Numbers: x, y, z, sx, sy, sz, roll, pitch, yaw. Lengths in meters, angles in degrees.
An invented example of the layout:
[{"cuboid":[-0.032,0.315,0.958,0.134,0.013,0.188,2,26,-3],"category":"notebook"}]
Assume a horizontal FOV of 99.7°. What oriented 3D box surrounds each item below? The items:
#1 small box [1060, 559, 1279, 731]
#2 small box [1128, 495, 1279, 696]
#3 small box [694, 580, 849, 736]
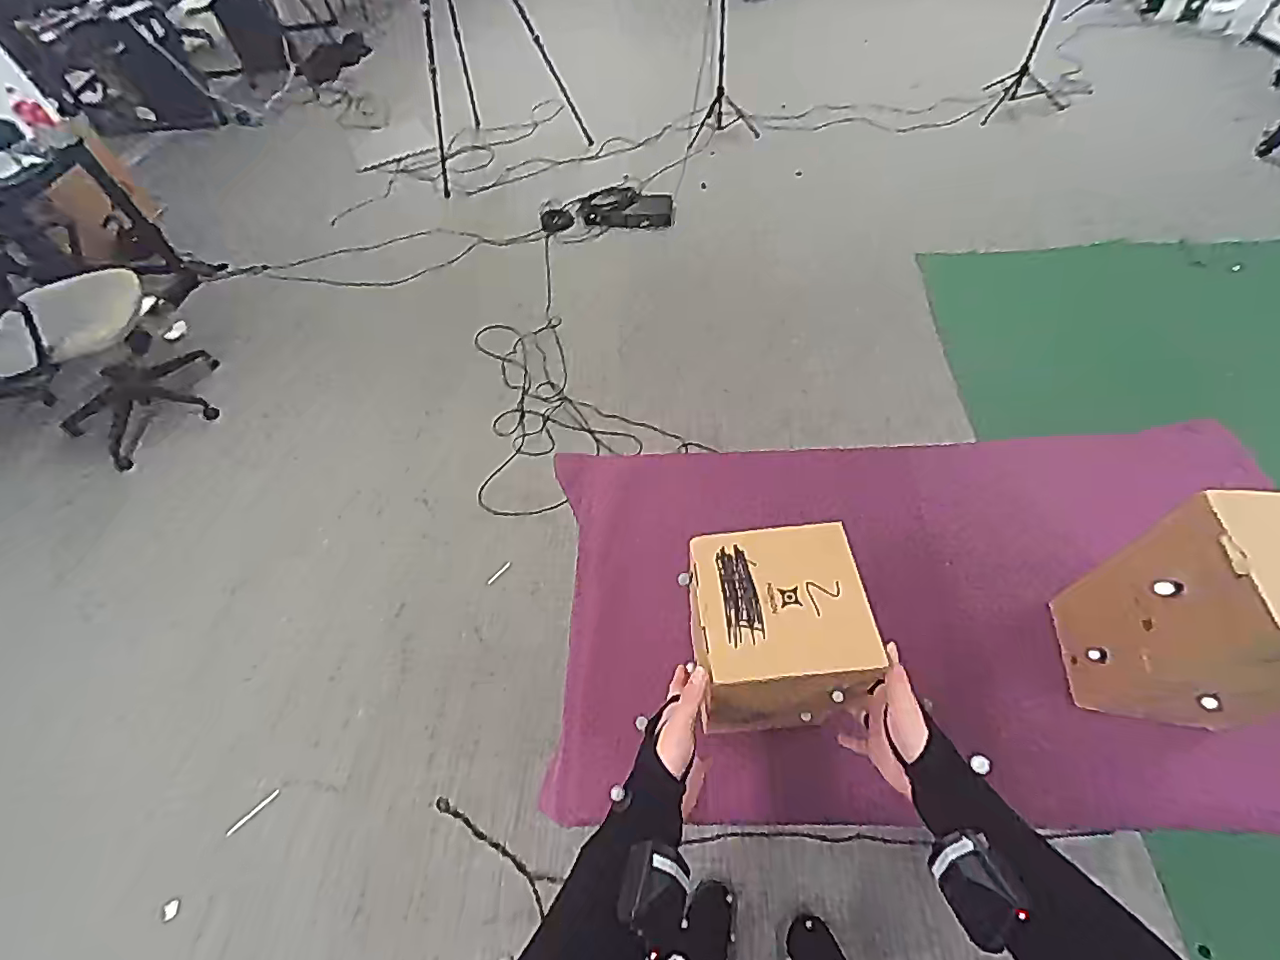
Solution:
[{"cuboid":[0.715,0.228,0.736,0.179,0.176,0.168,7,56,11],"category":"small box"},{"cuboid":[0.701,0.134,0.603,0.179,0.176,0.168,4,56,10],"category":"small box"},{"cuboid":[0.172,0.257,0.772,0.179,0.176,0.168,-6,55,2],"category":"small box"}]
